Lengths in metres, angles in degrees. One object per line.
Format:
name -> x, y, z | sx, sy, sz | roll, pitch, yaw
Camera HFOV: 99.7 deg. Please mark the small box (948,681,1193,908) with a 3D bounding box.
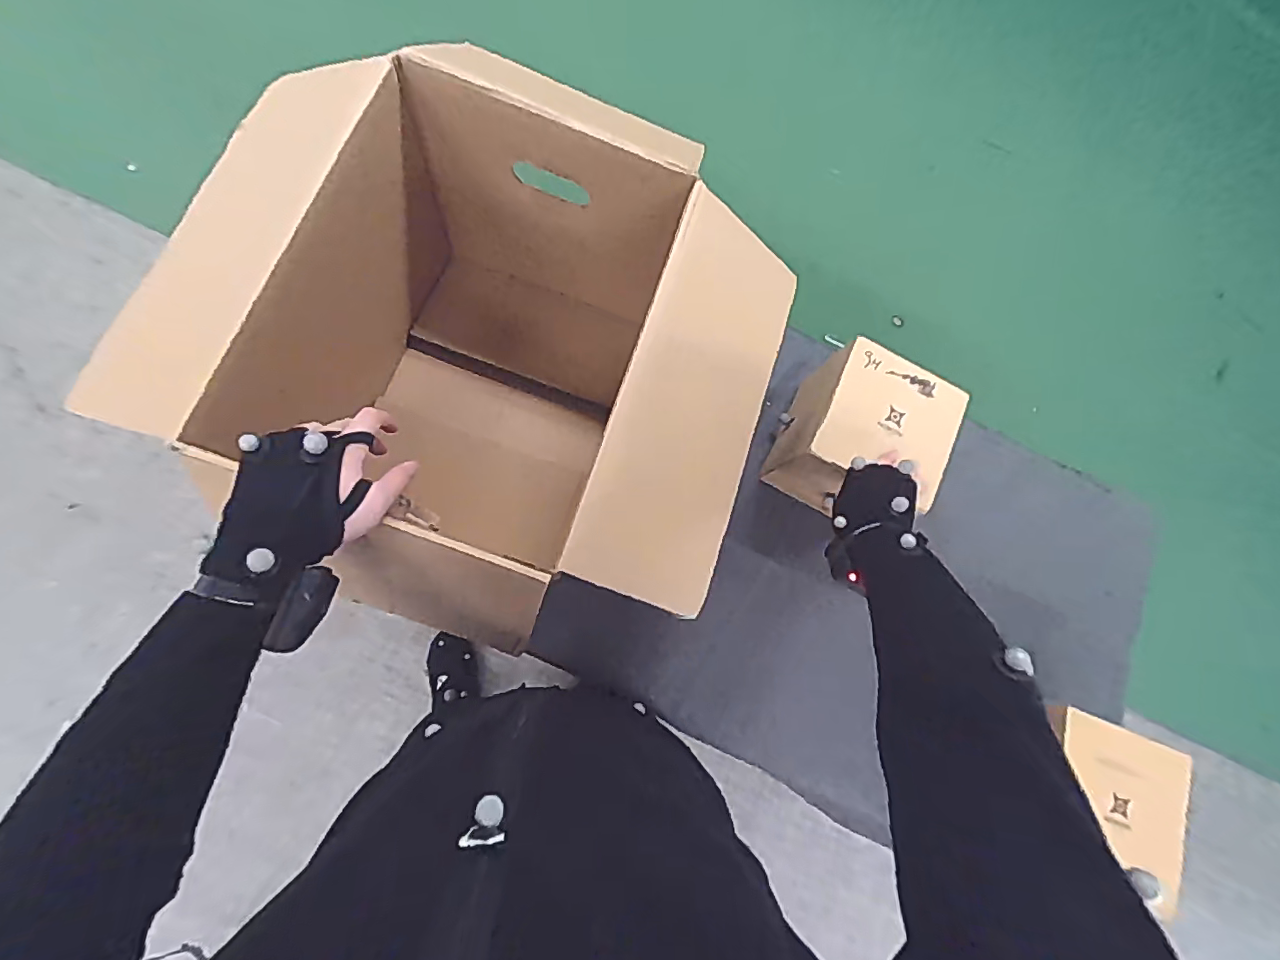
small box -> 0.529, 0.378, 0.686 | 0.168, 0.176, 0.179 | 23, 75, -3
